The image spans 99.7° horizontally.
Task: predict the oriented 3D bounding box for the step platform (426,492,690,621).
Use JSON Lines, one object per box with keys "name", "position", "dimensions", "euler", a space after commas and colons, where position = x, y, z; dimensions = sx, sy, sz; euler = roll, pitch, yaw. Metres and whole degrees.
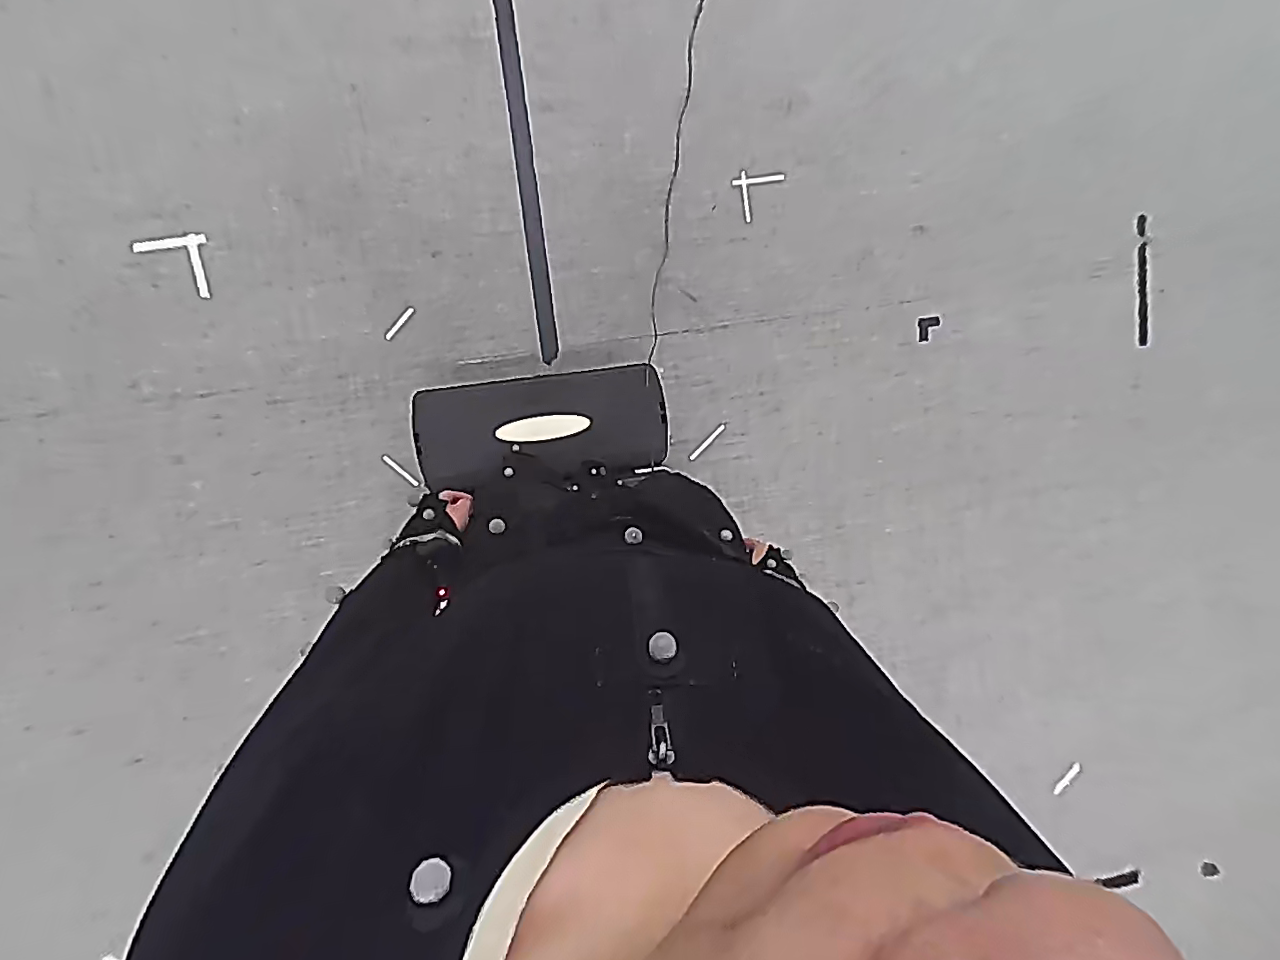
{"name": "step platform", "position": [-0.207, 0.198, 1.448], "dimensions": [0.684, 0.204, 0.286], "euler": [-4, 93, -5]}
